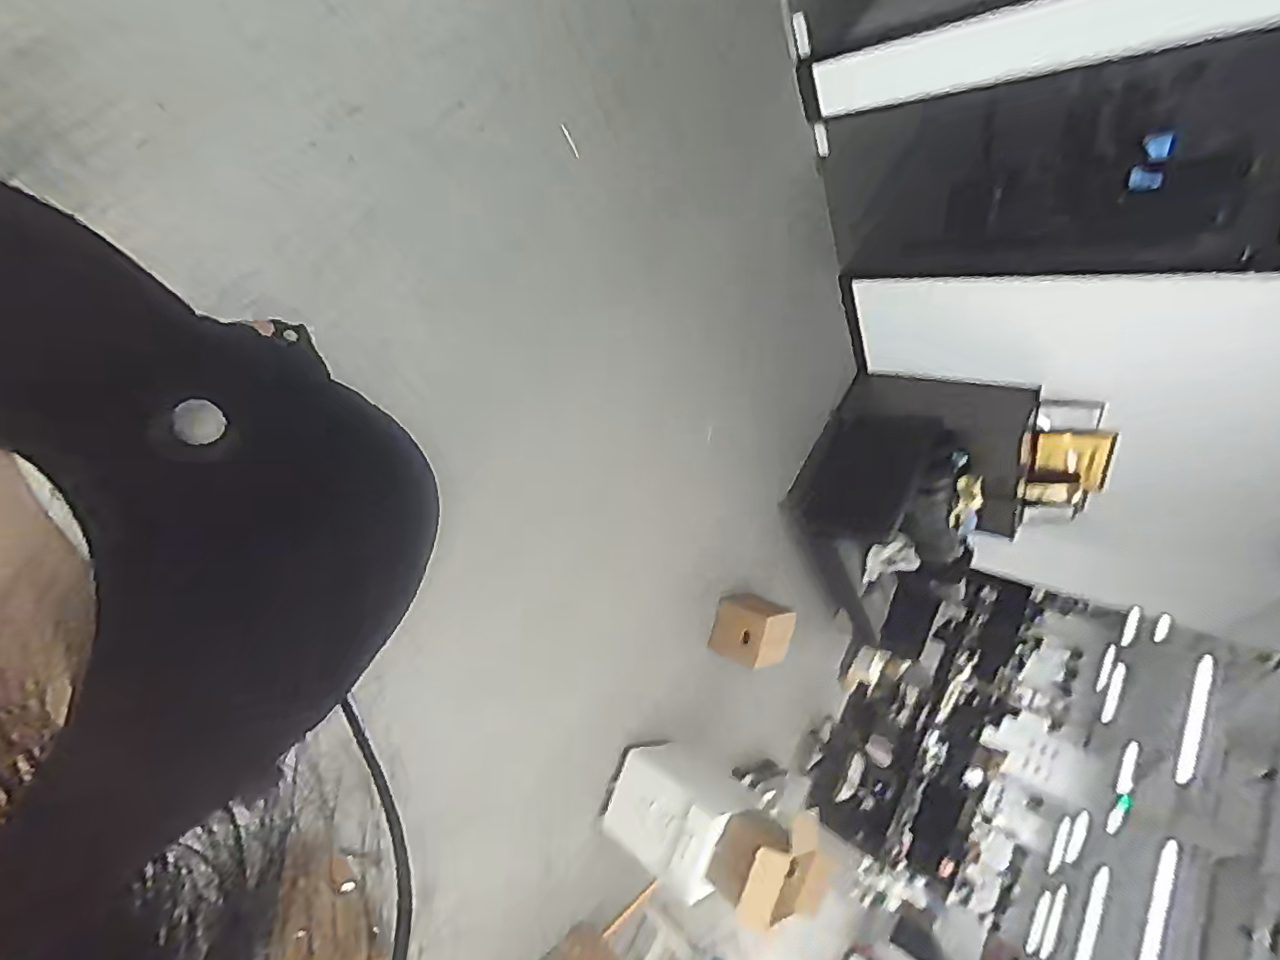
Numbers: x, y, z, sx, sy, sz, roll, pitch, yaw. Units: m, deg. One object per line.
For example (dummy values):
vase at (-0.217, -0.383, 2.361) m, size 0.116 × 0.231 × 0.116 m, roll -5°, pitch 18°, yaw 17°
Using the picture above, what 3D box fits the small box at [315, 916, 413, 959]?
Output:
small box at (-0.704, 1.238, 1.343) m, size 0.168 × 0.176 × 0.179 m, roll 47°, pitch 66°, yaw -47°

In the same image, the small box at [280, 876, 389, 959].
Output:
small box at (-0.824, 1.209, 1.449) m, size 0.179 × 0.176 × 0.168 m, roll -60°, pitch 139°, yaw -17°

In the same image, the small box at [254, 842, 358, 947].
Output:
small box at (-0.955, 1.166, 1.539) m, size 0.168 × 0.176 × 0.179 m, roll 43°, pitch 71°, yaw -47°
